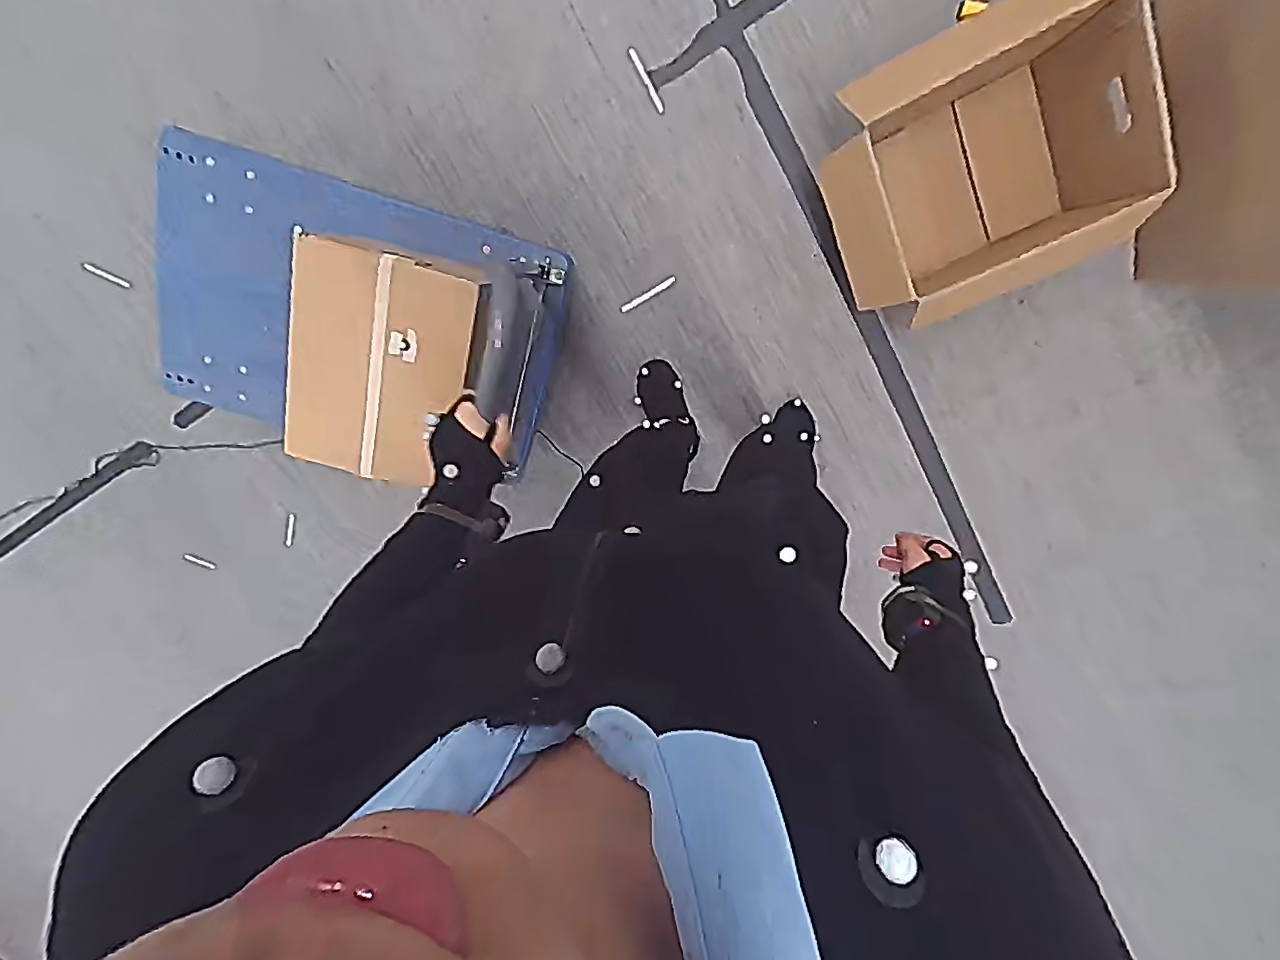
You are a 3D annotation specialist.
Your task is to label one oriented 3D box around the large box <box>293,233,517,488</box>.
[{"bbox_3d":[-0.467,-0.247,1.122,0.320,0.320,0.408,14,110,-7],"label":"large box"}]
